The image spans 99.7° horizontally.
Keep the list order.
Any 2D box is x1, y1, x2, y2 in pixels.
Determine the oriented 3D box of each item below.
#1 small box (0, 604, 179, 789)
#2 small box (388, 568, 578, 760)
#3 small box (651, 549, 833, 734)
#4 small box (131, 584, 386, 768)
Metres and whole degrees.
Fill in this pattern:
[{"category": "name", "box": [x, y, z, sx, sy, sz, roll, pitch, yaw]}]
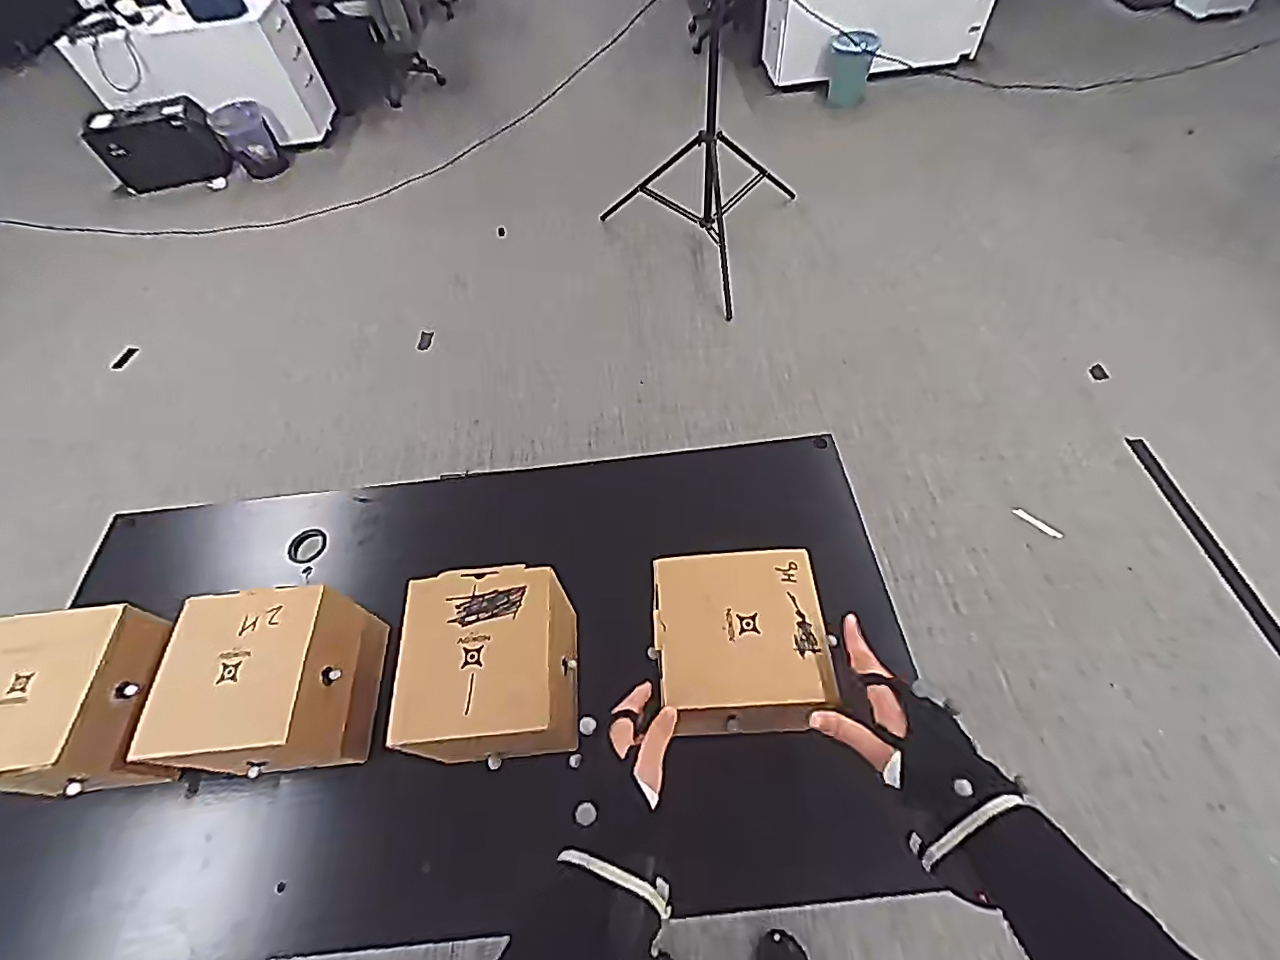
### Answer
[{"category": "small box", "box": [-0.673, 0.270, 0.662, 0.168, 0.176, 0.179, -6, 56, 0]}, {"category": "small box", "box": [-0.170, 0.224, 0.646, 0.168, 0.176, 0.179, -6, 58, 1]}, {"category": "small box", "box": [0.109, 0.197, 0.639, 0.179, 0.176, 0.168, -4, 57, 3]}, {"category": "small box", "box": [-0.434, 0.244, 0.656, 0.168, 0.176, 0.179, -6, 57, 1]}]
